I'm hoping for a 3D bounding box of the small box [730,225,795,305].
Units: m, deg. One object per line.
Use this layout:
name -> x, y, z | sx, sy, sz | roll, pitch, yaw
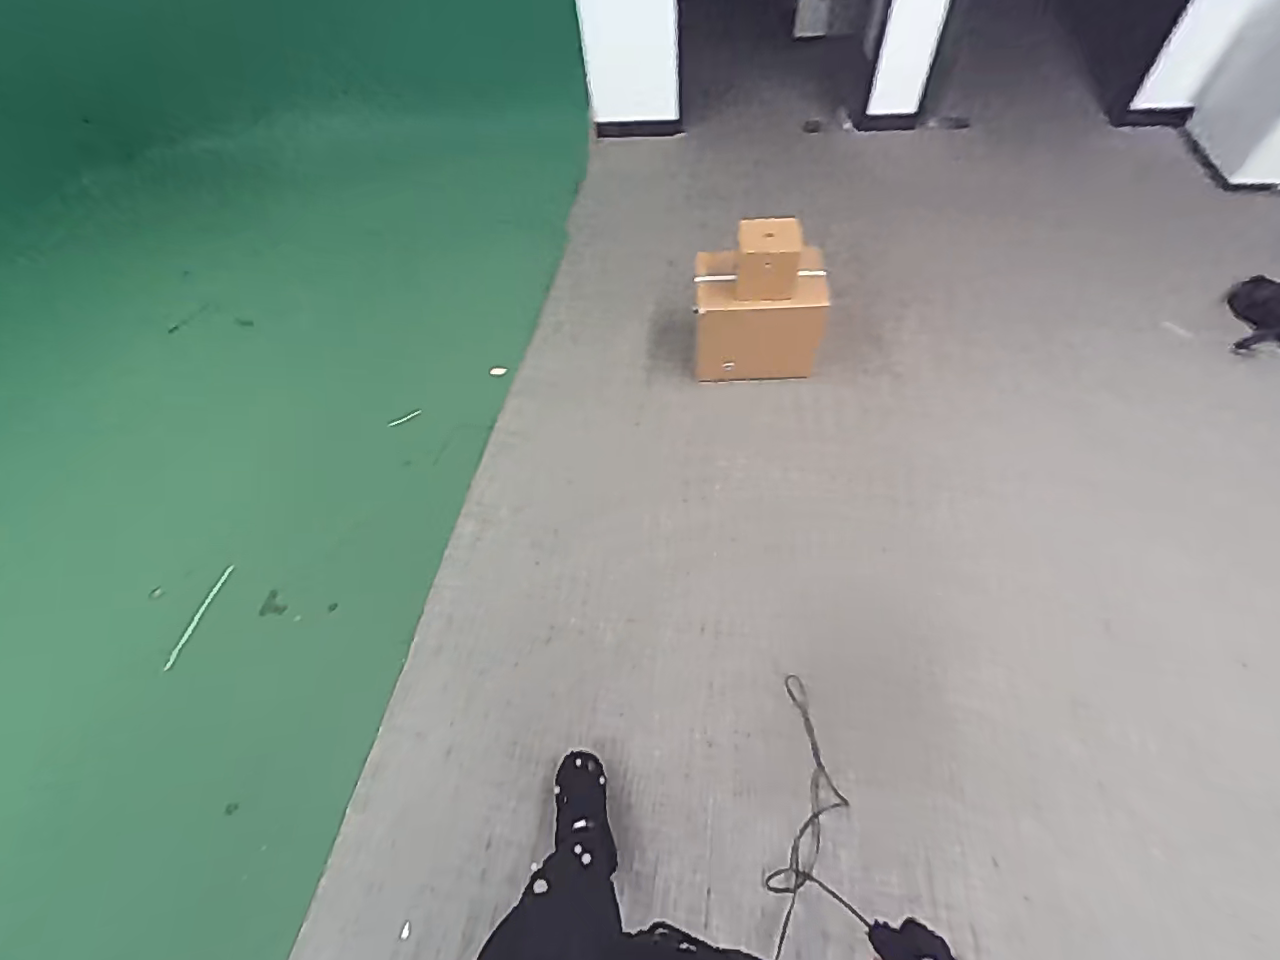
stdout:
small box -> 0.370, -0.656, 1.660 | 0.179, 0.176, 0.168 | 1, 57, 5
